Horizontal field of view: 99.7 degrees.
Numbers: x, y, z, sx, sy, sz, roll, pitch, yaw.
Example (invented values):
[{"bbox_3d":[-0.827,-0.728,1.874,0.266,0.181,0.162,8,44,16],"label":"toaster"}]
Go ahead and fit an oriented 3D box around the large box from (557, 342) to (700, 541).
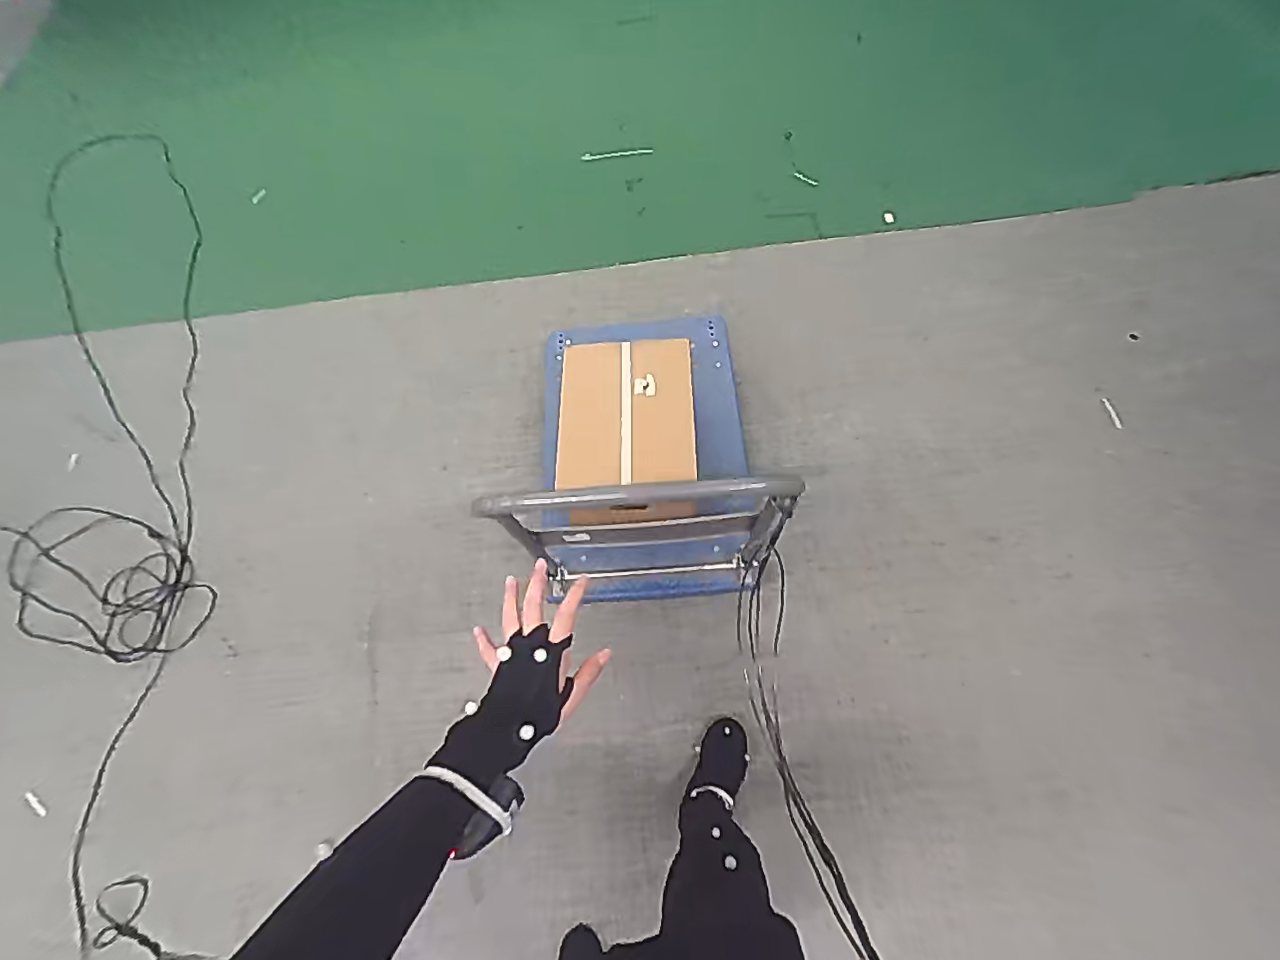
[{"bbox_3d":[-0.017,-0.086,1.369,0.320,0.320,0.408,-2,65,3],"label":"large box"}]
